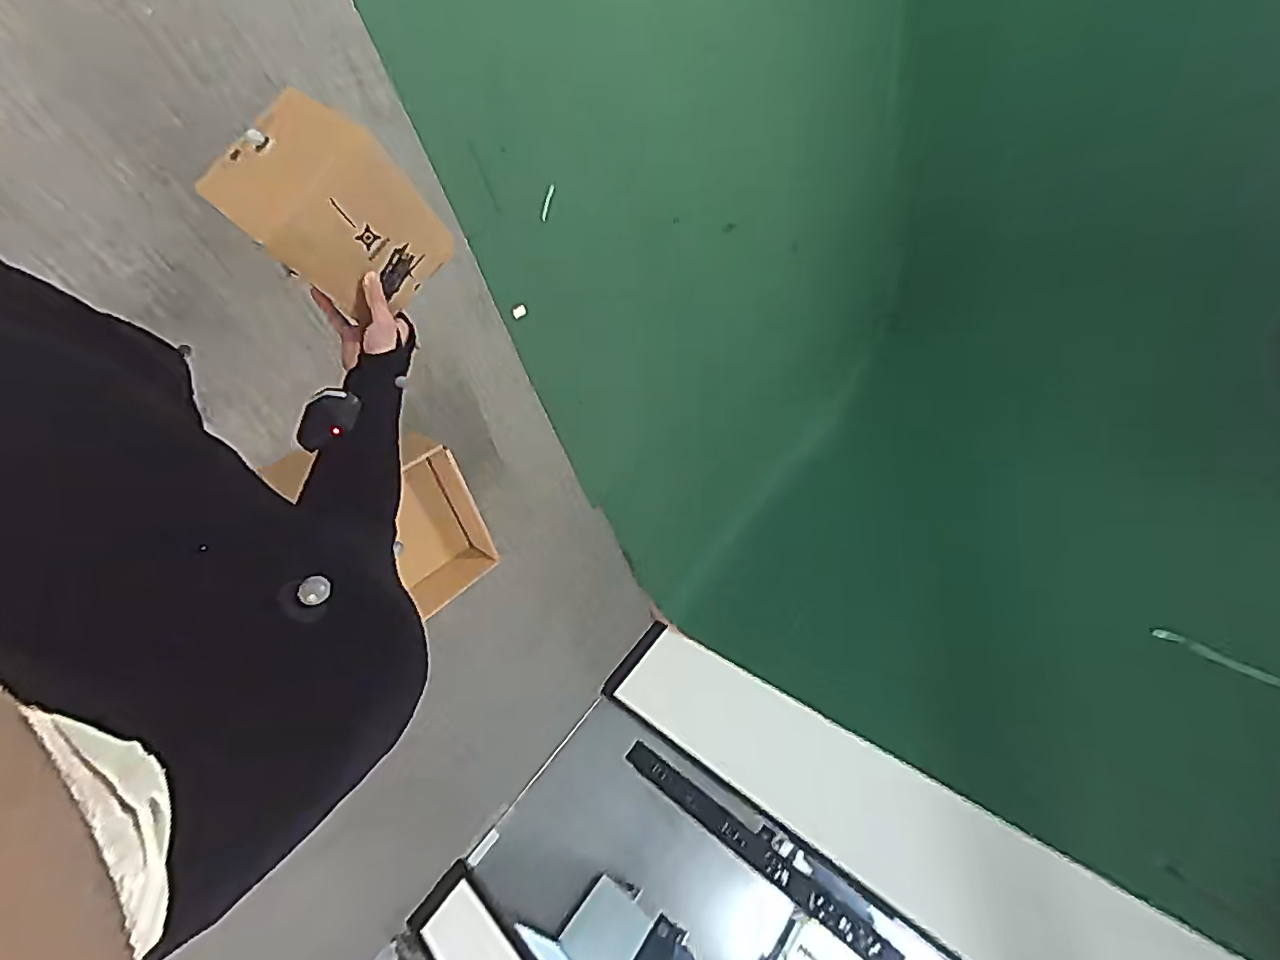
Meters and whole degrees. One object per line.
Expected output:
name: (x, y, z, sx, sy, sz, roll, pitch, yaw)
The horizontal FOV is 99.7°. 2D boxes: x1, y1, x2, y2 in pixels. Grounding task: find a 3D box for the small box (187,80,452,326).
small box: (-0.373, -0.326, 0.645, 0.168, 0.176, 0.179, -52, 156, -5)
